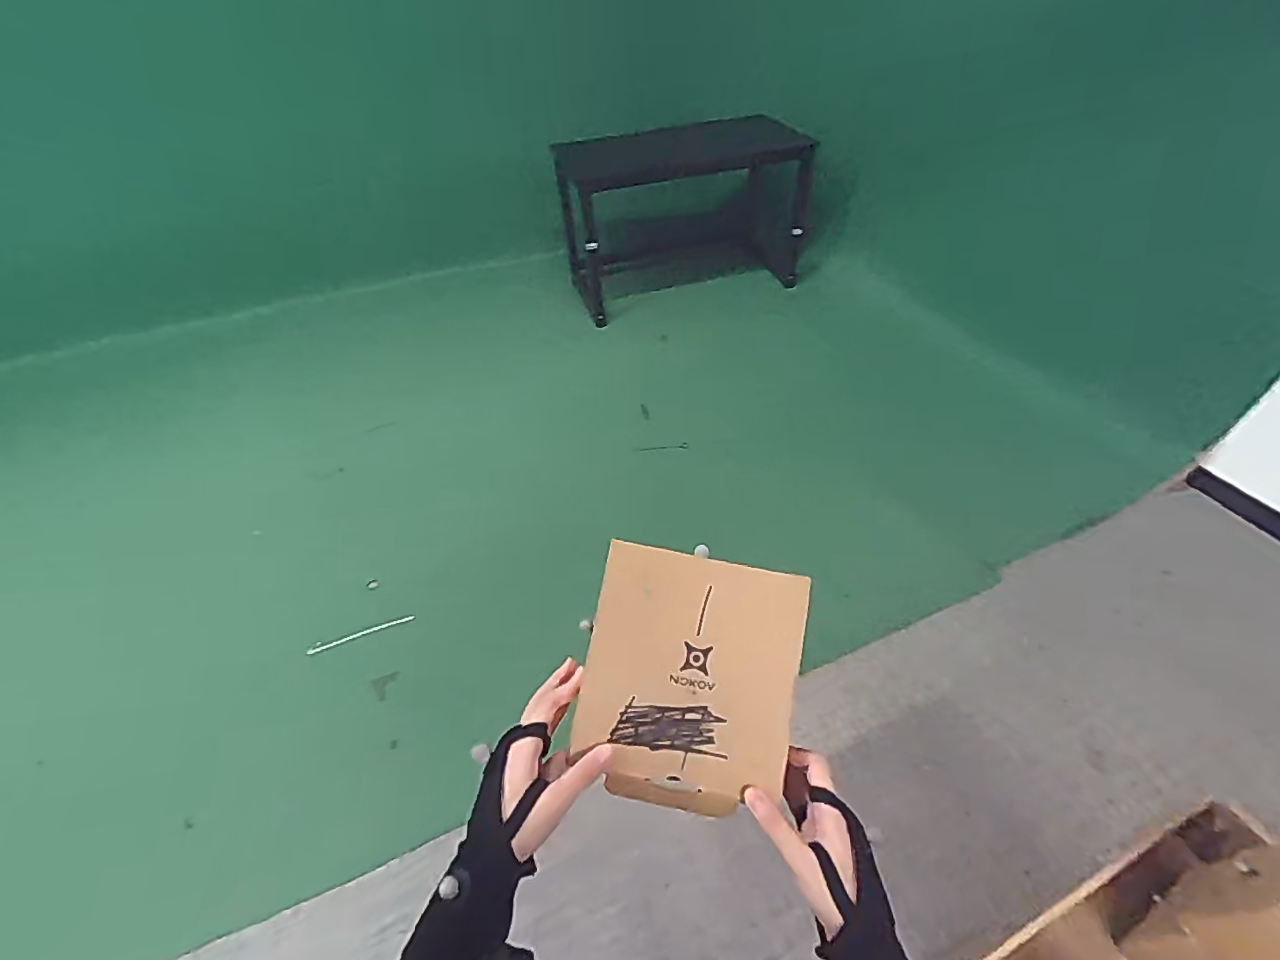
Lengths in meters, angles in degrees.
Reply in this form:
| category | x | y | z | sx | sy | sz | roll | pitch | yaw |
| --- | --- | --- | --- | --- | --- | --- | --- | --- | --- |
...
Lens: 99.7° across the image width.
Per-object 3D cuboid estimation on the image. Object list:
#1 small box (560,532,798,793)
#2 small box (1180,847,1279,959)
| category | x | y | z | sx | sy | sz | roll | pitch | yaw |
| --- | --- | --- | --- | --- | --- | --- | --- | --- | --- |
| small box | 0.032 | 0.155 | 0.508 | 0.168 | 0.176 | 0.179 | 12 | 80 | -1 |
| small box | 0.803 | 0.544 | 0.616 | 0.168 | 0.176 | 0.179 | -23 | 48 | -17 |
